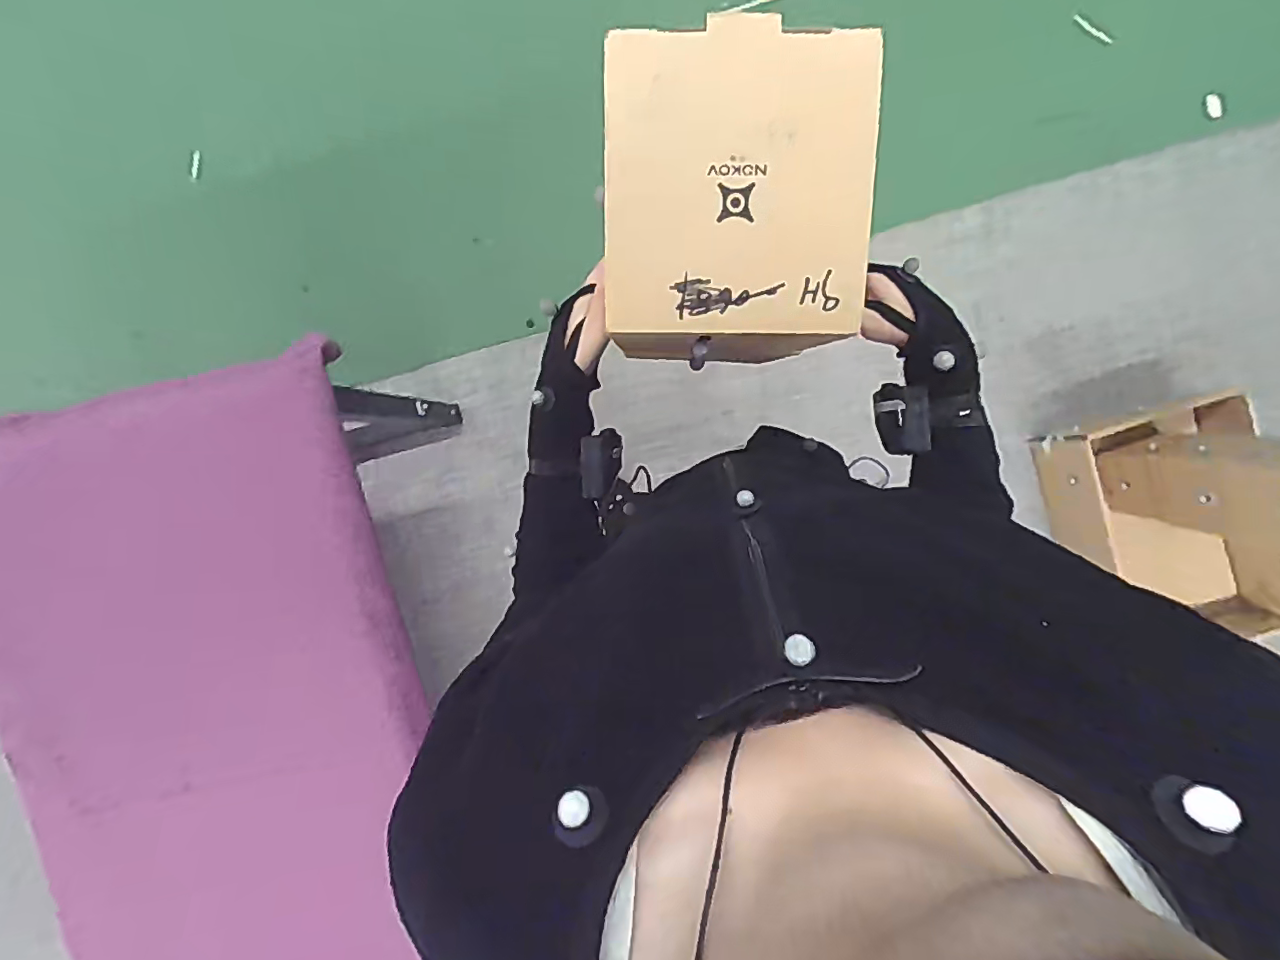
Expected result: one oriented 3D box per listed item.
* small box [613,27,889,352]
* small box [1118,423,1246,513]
[{"bbox_3d":[0.069,-0.196,0.414,0.168,0.176,0.179,1,99,3],"label":"small box"},{"bbox_3d":[1.322,-0.032,1.317,0.179,0.176,0.168,-20,95,5],"label":"small box"}]
